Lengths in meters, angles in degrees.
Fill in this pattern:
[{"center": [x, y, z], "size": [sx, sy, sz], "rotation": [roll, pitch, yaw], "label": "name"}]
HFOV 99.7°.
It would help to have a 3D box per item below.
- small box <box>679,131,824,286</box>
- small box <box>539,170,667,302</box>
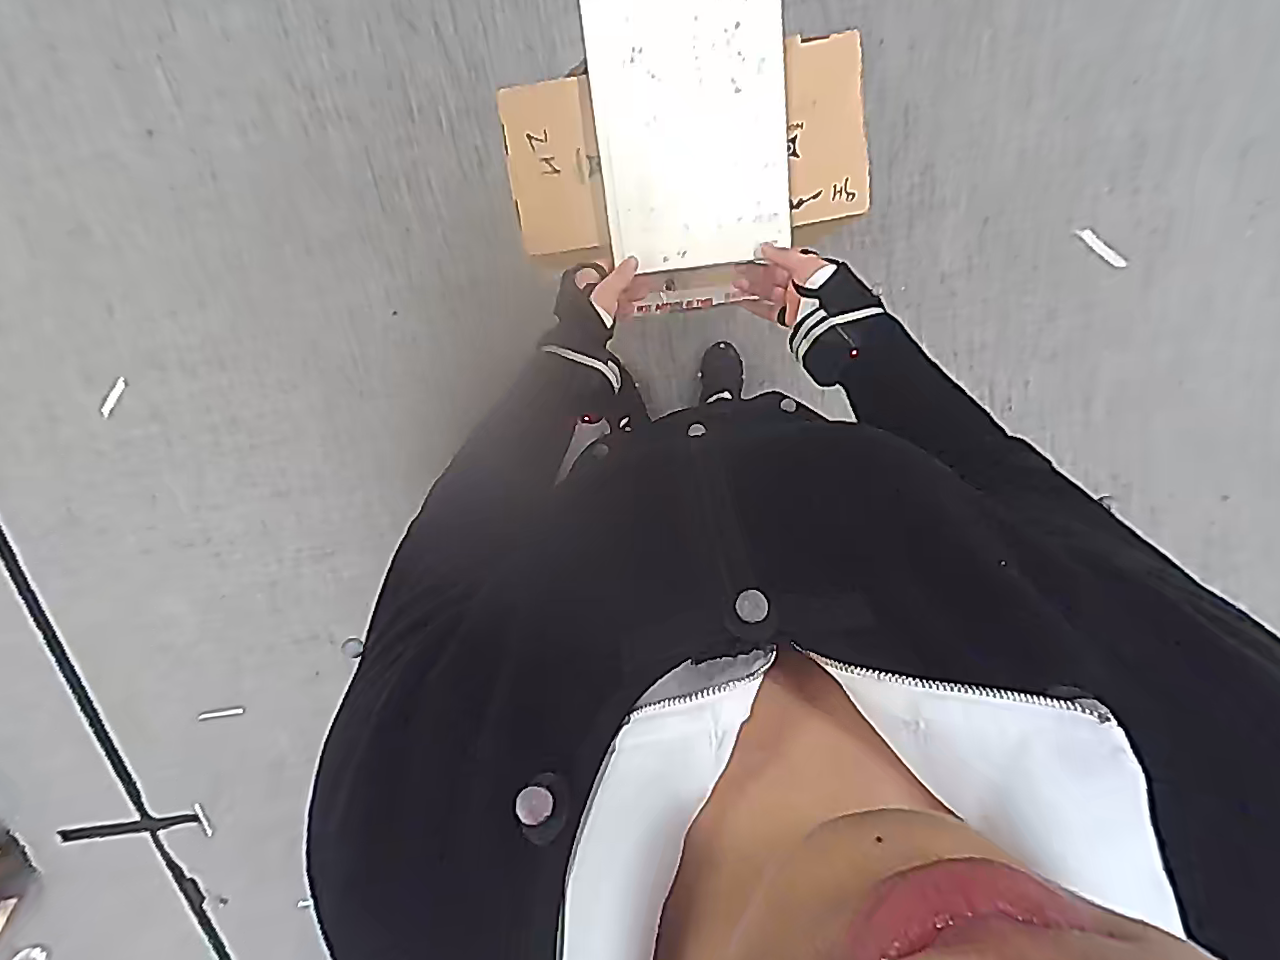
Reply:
[{"center": [0.163, -0.403, 0.831], "size": [0.179, 0.176, 0.168], "rotation": [-11, 105, 3], "label": "small box"}, {"center": [-0.049, -0.369, 0.843], "size": [0.179, 0.176, 0.168], "rotation": [-2, 106, 3], "label": "small box"}]
